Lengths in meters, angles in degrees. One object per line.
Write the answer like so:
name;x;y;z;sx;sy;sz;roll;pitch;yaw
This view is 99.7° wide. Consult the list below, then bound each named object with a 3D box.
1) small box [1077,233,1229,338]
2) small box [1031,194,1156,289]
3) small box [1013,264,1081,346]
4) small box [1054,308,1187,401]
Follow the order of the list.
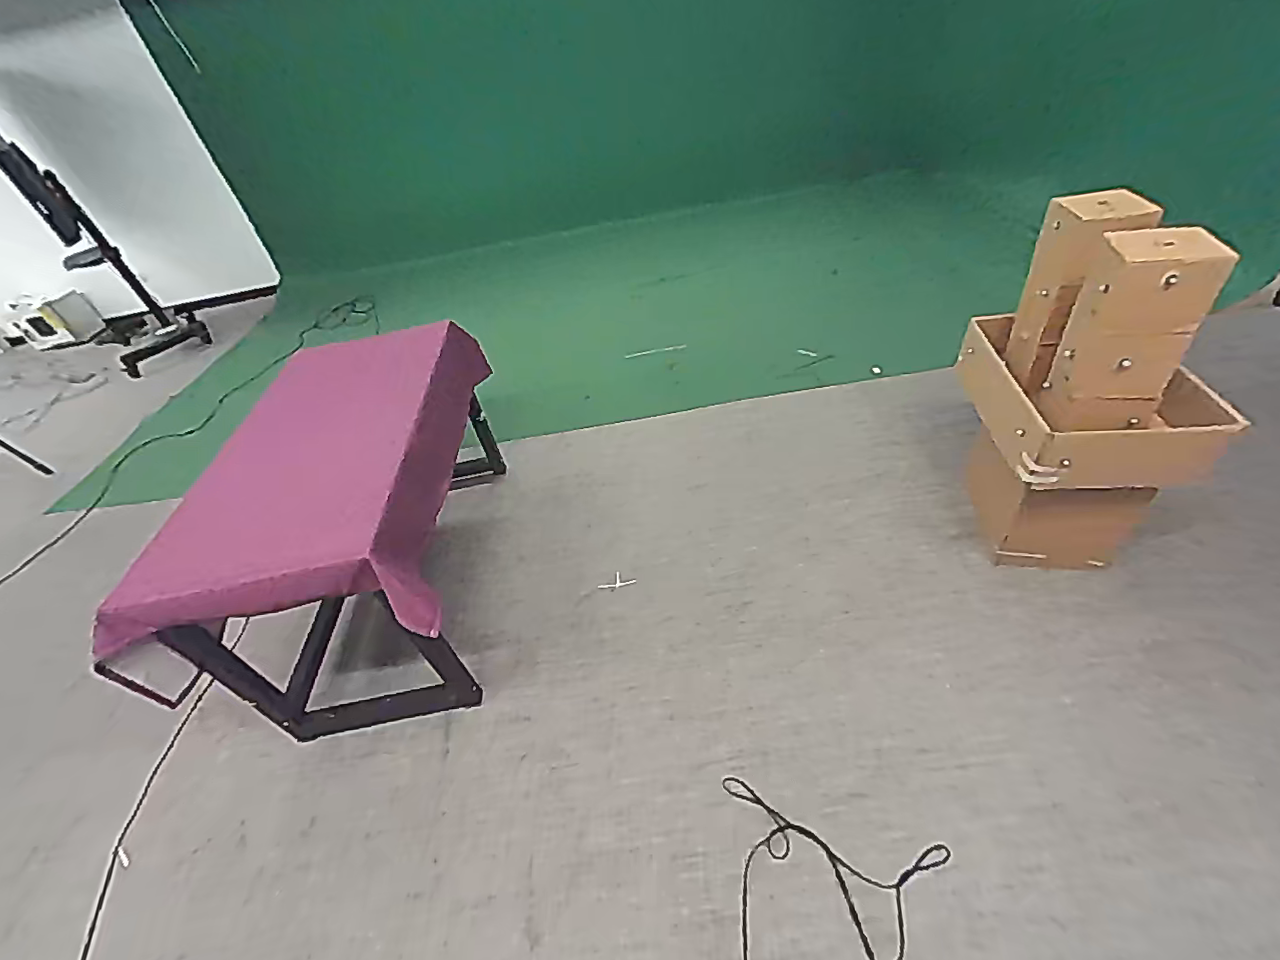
small box;1.101;-0.423;1.185;0.179;0.176;0.168;4;44;17
small box;1.145;-0.609;1.387;0.168;0.176;0.179;-3;43;11
small box;1.174;-0.489;1.496;0.168;0.176;0.179;-3;43;11
small box;1.126;-0.301;1.291;0.179;0.176;0.168;2;43;17
